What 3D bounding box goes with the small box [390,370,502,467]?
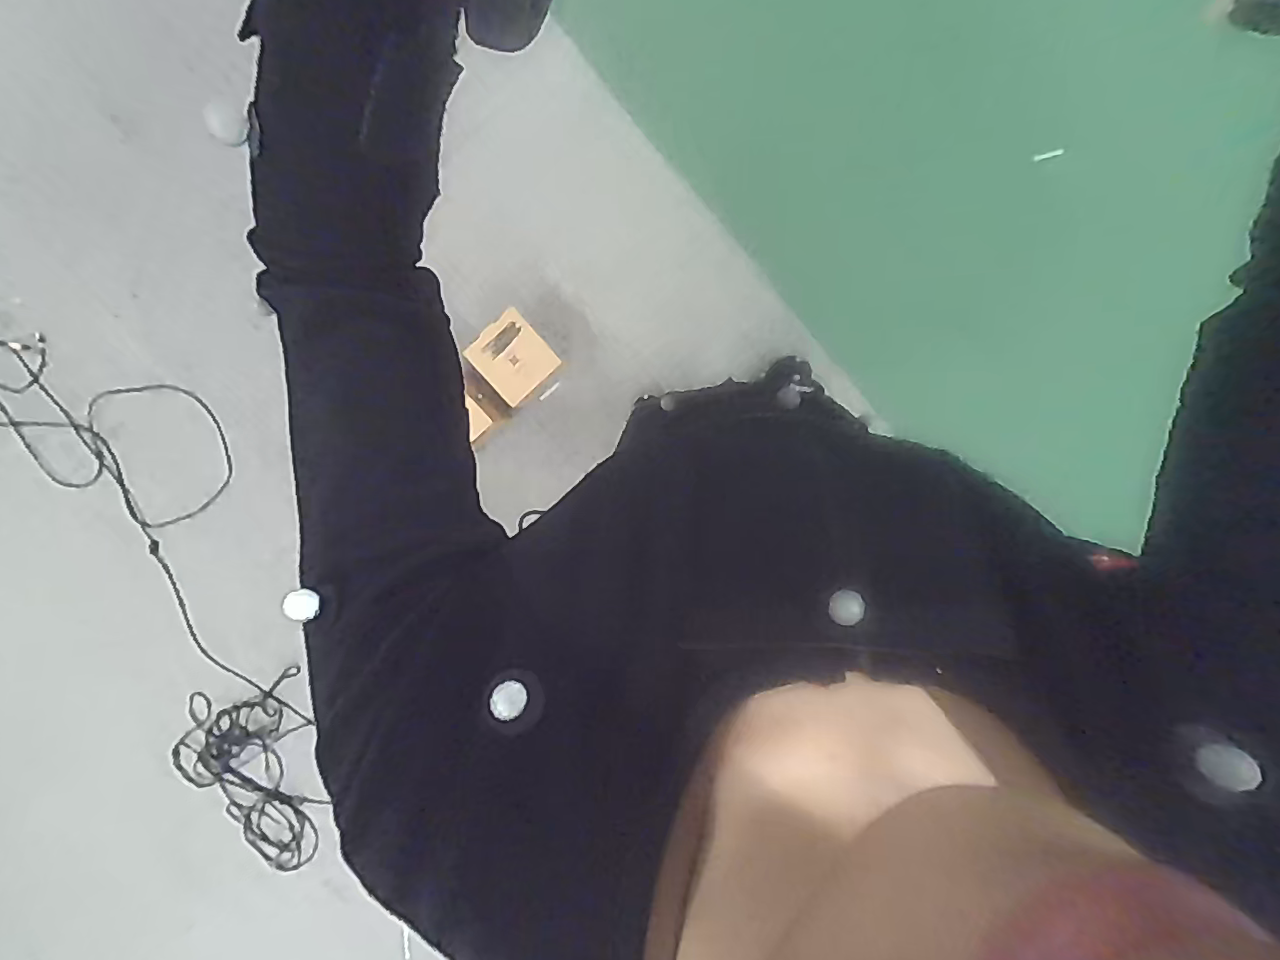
[{"bbox_3d":[-0.480,-0.161,1.371,0.168,0.176,0.179,-41,95,8],"label":"small box"}]
